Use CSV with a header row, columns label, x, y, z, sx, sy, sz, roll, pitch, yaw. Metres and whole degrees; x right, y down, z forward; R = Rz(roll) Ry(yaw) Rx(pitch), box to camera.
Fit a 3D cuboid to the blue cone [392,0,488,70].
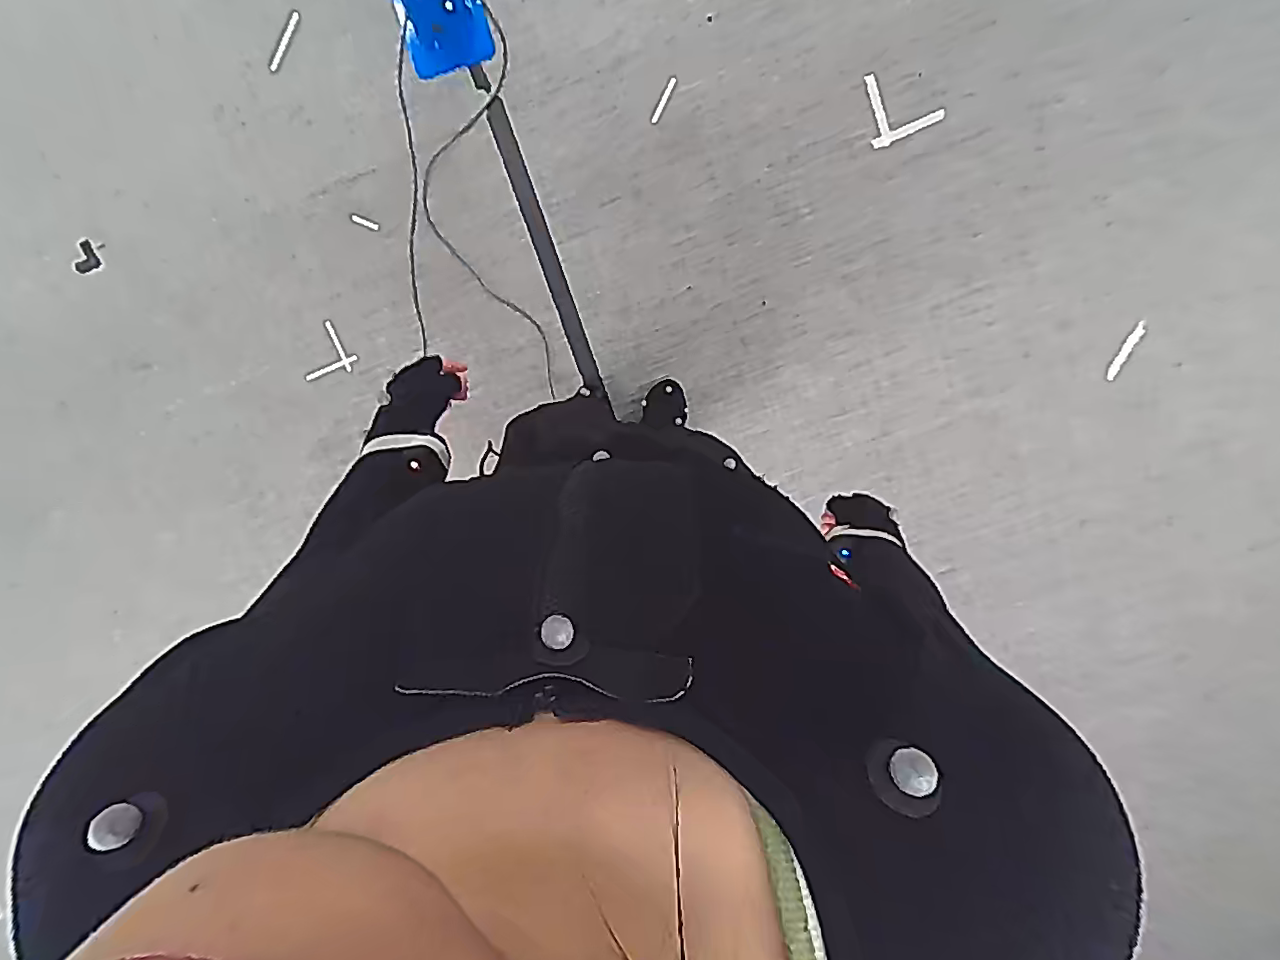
label,x,y,z,sx,sy,sz,roll,pitch,yaw
blue cone,-0.458,-1.017,1.071,0.193,0.380,0.192,-16,102,5
